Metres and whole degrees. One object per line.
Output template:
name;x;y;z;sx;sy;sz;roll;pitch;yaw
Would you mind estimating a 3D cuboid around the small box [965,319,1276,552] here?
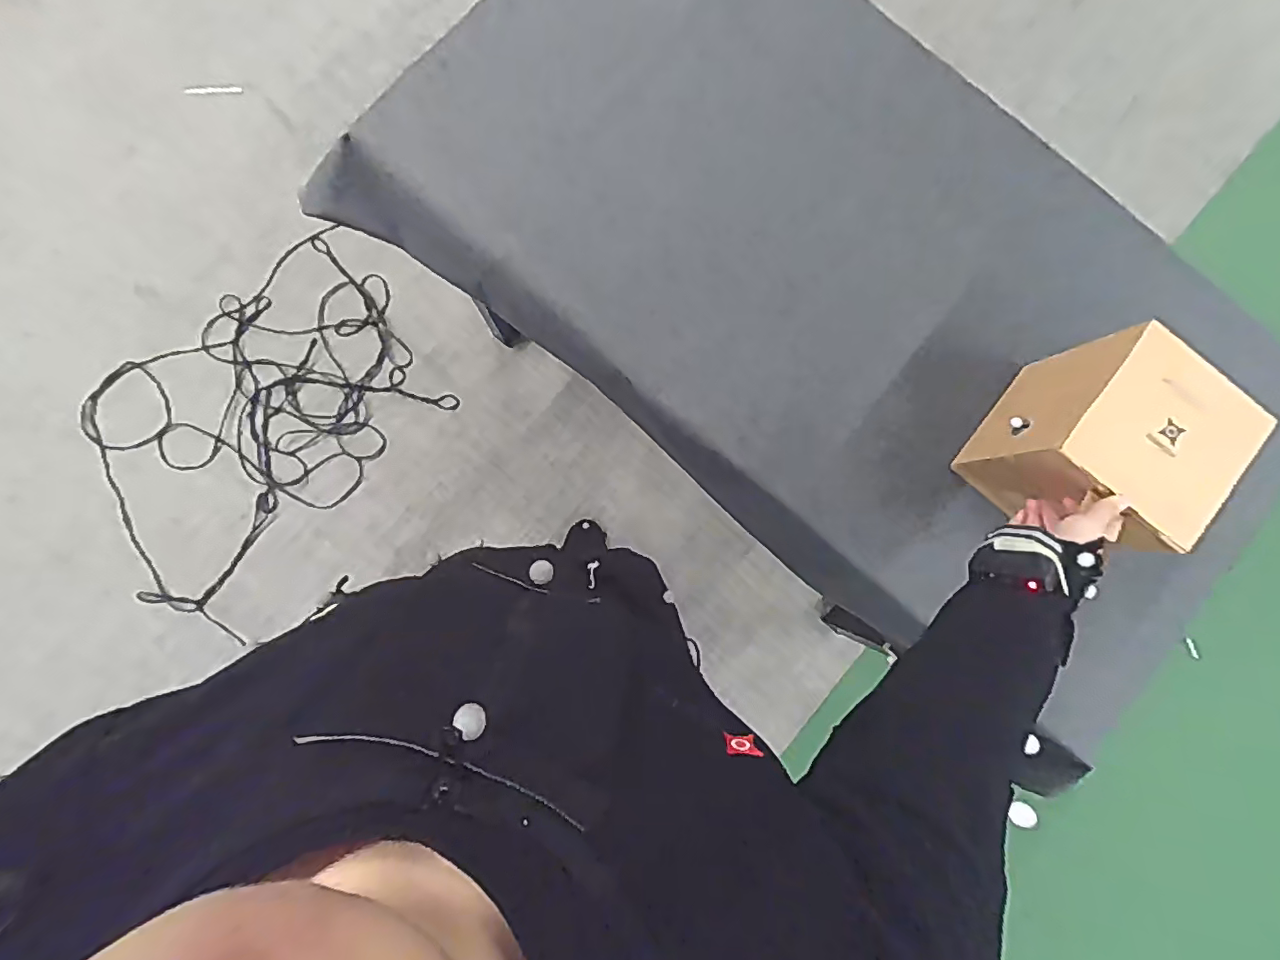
small box;0.513;-0.038;0.609;0.168;0.176;0.179;39;83;-1
